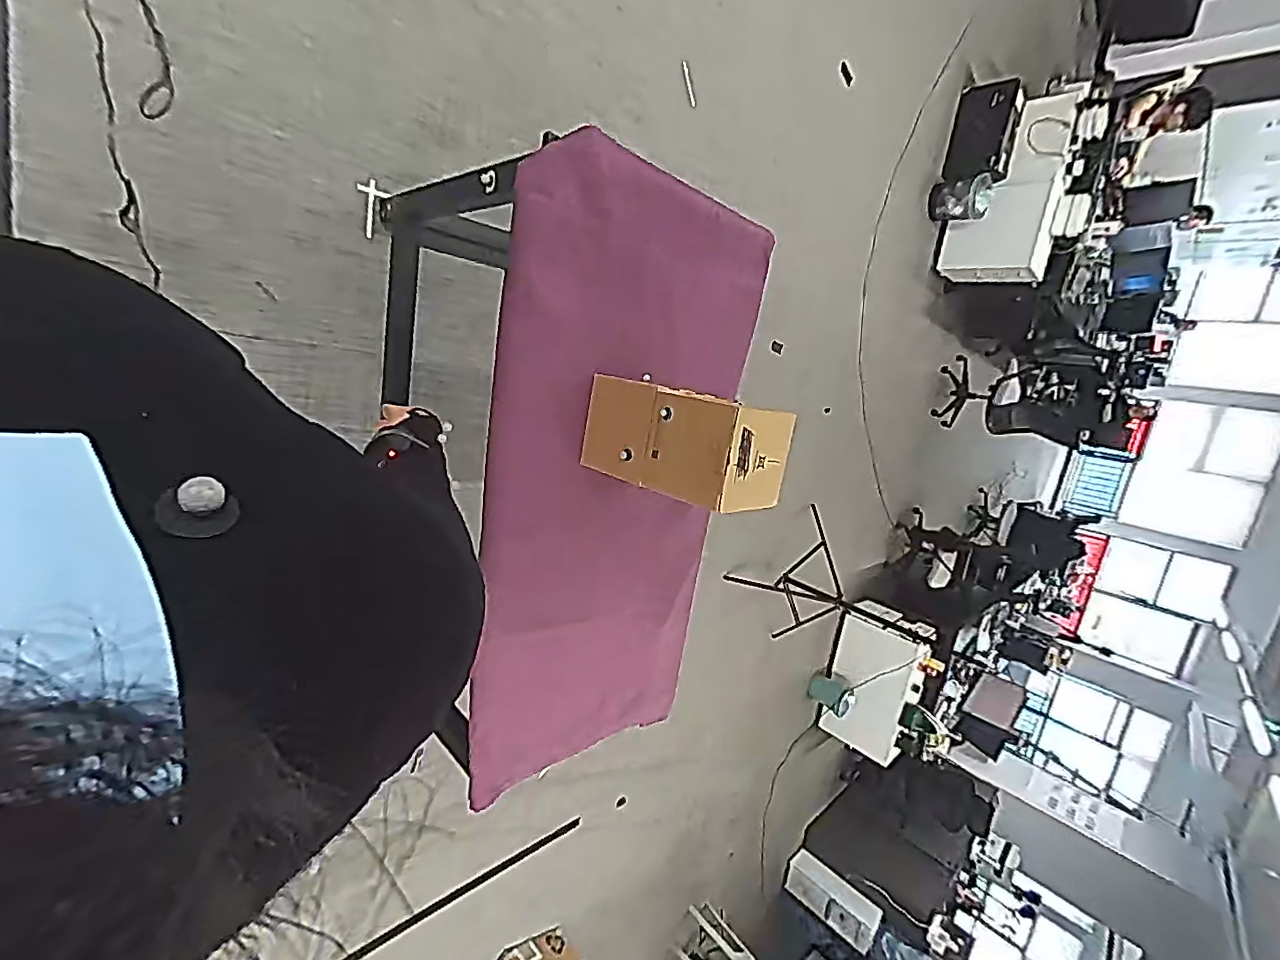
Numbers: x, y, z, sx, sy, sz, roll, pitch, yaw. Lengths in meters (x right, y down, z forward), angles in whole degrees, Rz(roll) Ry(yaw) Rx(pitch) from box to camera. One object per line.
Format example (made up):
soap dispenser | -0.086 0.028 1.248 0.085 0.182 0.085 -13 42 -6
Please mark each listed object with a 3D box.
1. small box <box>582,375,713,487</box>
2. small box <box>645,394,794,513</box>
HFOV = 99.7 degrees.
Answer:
small box | 0.011 -0.091 1.023 0.168 0.176 0.179 0 105 -47
small box | 0.131 -0.049 0.918 0.179 0.176 0.168 -3 107 -46
